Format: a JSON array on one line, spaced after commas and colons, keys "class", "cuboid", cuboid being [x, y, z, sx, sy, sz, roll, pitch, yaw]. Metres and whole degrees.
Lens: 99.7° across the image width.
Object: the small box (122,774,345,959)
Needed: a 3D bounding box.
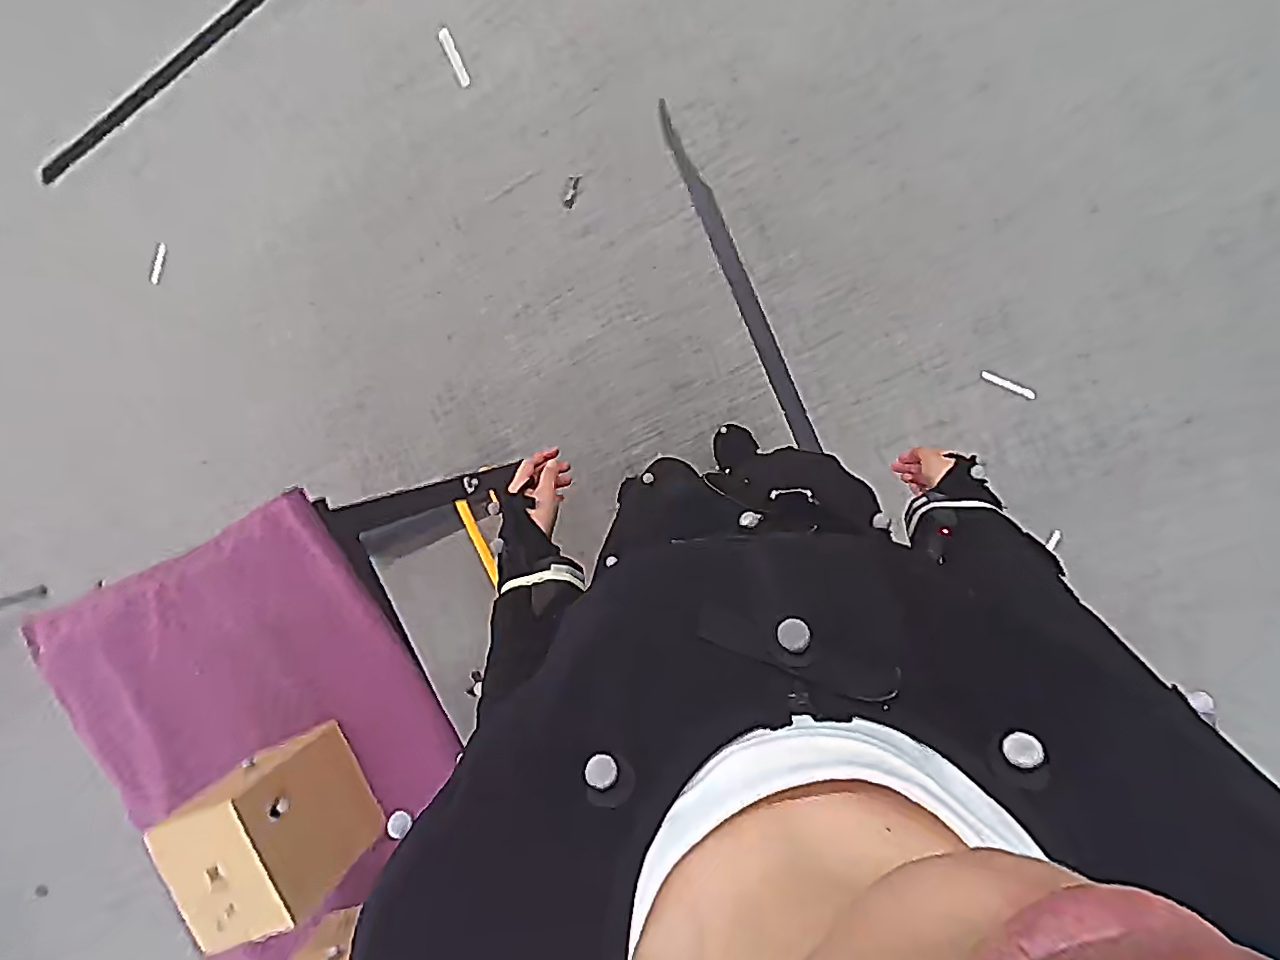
[{"class": "small box", "cuboid": [-0.541, 0.532, 0.742, 0.168, 0.176, 0.179, -6, 95, 12]}]
